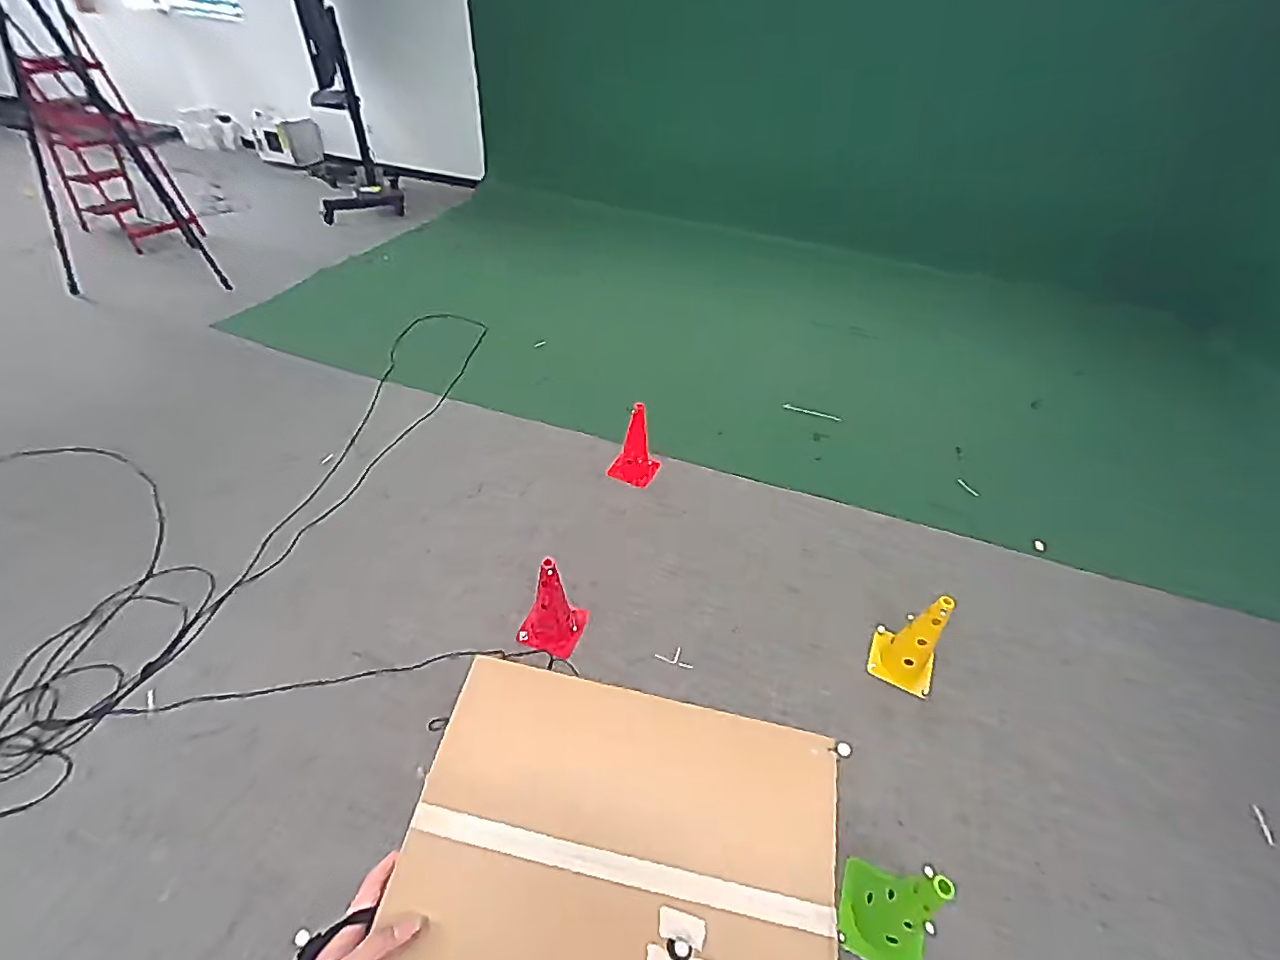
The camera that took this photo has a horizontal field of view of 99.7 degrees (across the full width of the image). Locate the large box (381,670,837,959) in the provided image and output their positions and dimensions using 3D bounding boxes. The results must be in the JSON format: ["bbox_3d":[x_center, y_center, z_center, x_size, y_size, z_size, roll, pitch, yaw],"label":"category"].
[{"bbox_3d":[-0.021,0.454,0.635,0.408,0.320,0.320,11,57,4],"label":"large box"}]

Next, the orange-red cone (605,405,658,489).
[{"bbox_3d":[-0.029,-0.169,2.352,0.199,0.360,0.198,20,44,17],"label":"orange-red cone"}]

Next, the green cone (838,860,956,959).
[{"bbox_3d":[0.613,0.957,1.217,0.200,0.368,0.202,20,44,15],"label":"green cone"}]
